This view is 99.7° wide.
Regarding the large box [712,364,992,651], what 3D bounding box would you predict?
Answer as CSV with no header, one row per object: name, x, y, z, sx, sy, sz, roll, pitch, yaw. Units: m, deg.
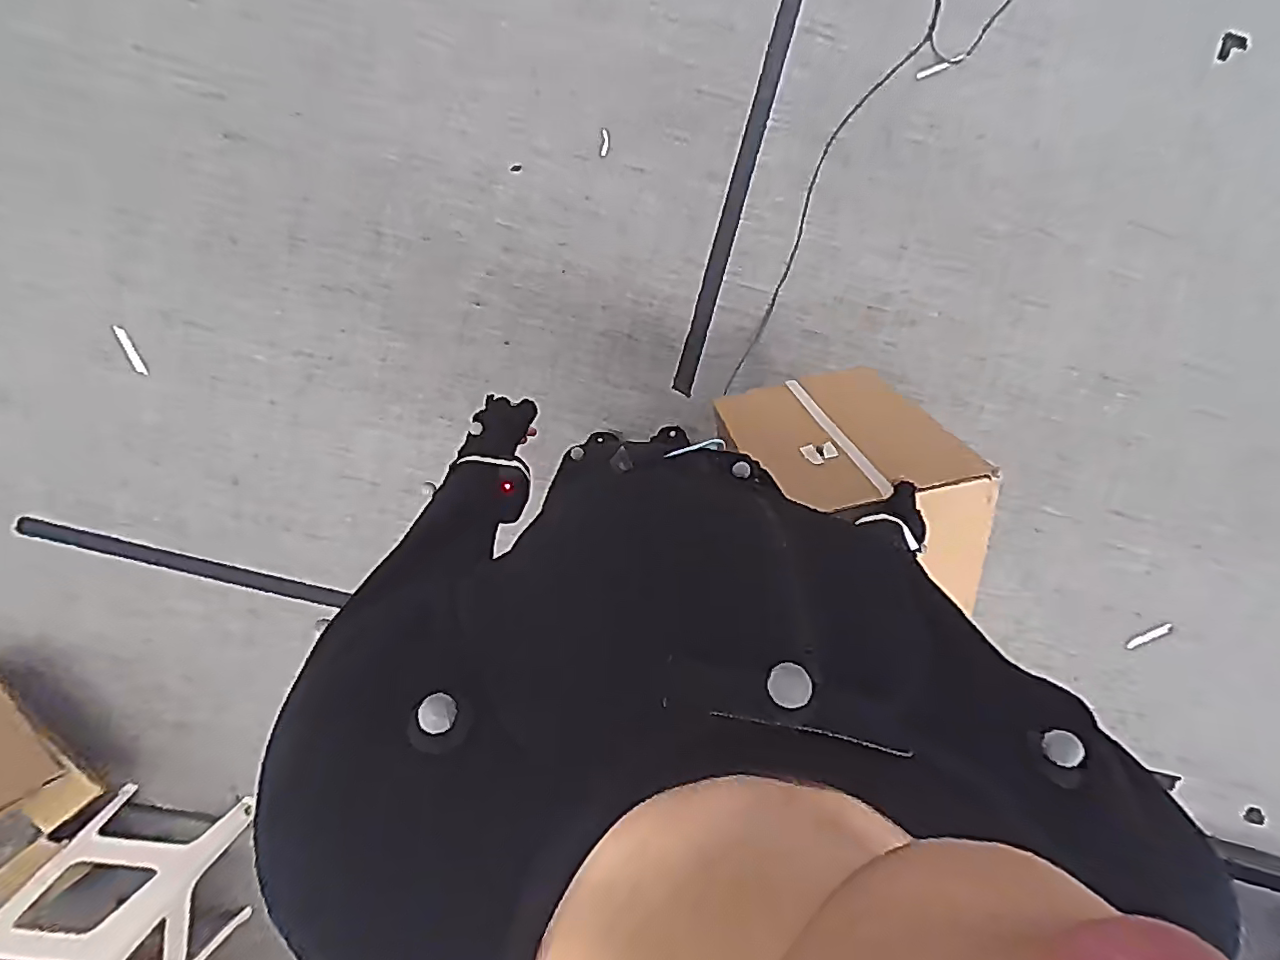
large box,0.343,0.033,0.996,0.320,0.408,0.320,-14,126,1
